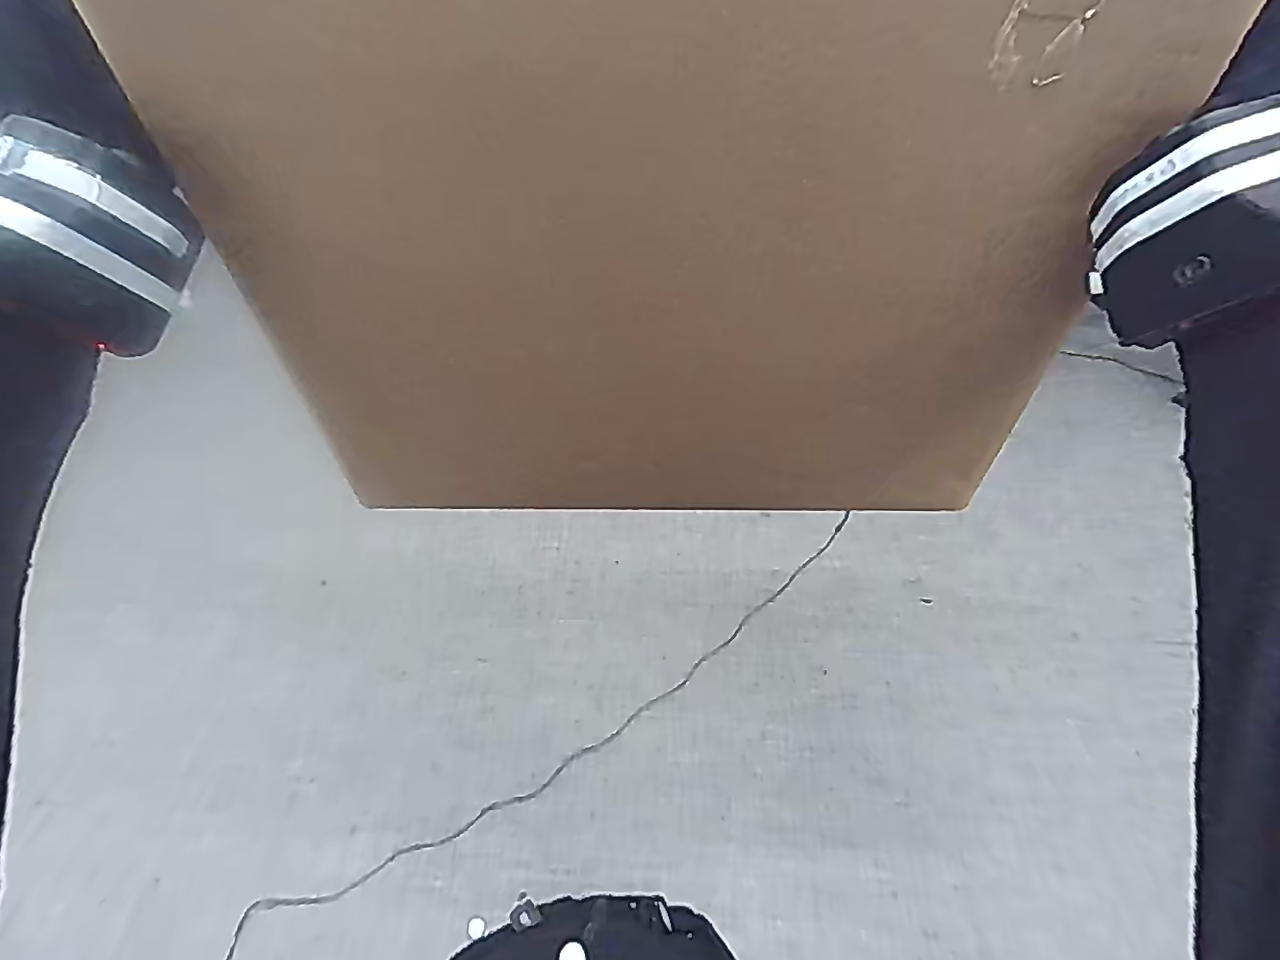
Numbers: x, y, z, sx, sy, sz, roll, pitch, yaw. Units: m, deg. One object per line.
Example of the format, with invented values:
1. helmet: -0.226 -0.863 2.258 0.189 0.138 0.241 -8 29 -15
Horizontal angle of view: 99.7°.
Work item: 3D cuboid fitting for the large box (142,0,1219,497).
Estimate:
1. large box: 0.015 -0.199 0.374 0.408 0.320 0.320 0 45 1
